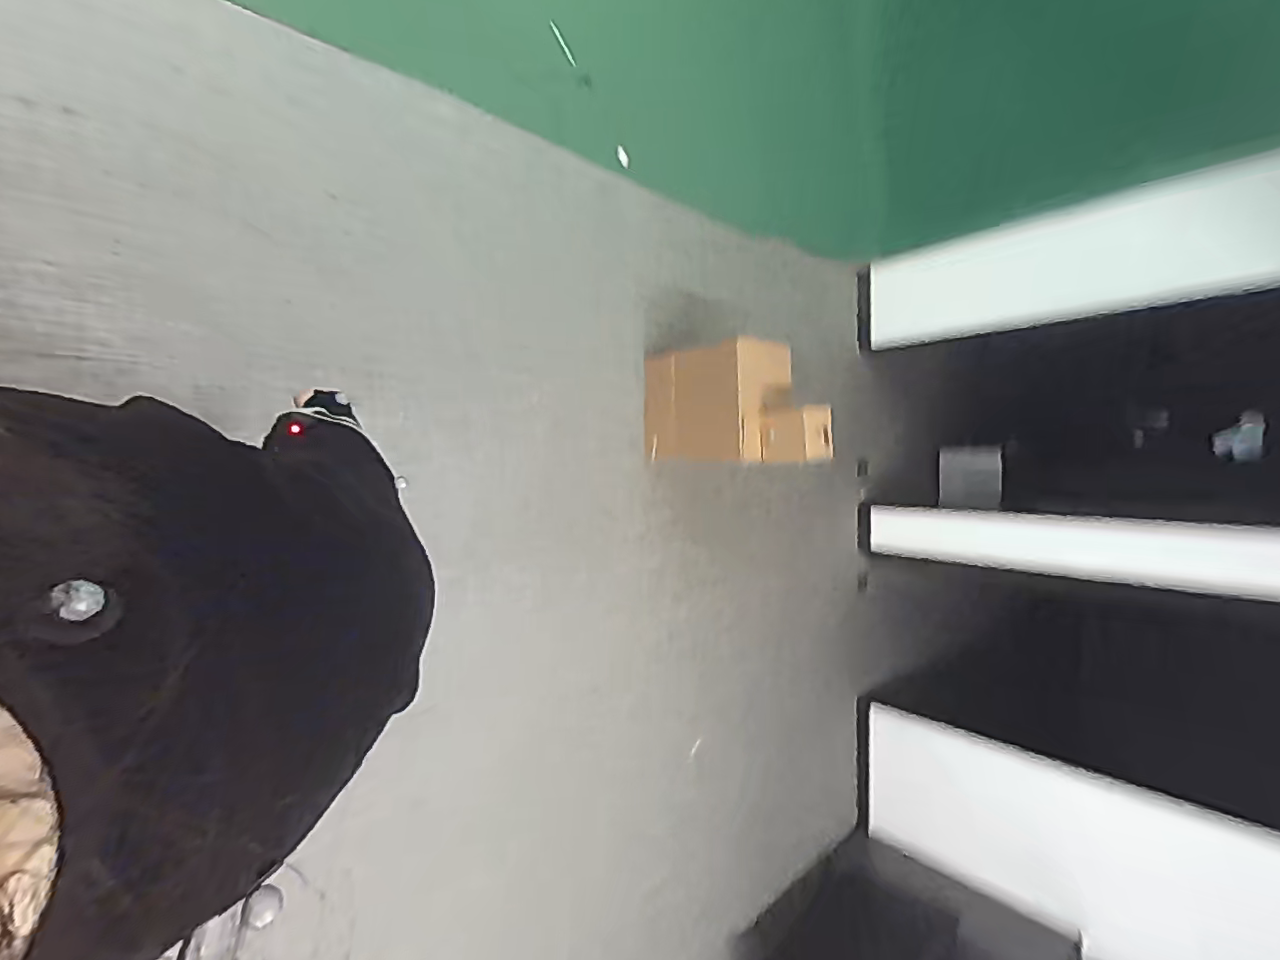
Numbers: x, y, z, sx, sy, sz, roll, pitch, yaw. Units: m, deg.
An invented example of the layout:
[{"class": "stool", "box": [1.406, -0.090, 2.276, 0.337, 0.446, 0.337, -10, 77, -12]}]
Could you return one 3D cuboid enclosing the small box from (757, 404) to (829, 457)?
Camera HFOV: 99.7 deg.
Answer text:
[{"class": "small box", "box": [0.519, -0.169, 1.833, 0.179, 0.176, 0.168, -9, 96, -41]}]
